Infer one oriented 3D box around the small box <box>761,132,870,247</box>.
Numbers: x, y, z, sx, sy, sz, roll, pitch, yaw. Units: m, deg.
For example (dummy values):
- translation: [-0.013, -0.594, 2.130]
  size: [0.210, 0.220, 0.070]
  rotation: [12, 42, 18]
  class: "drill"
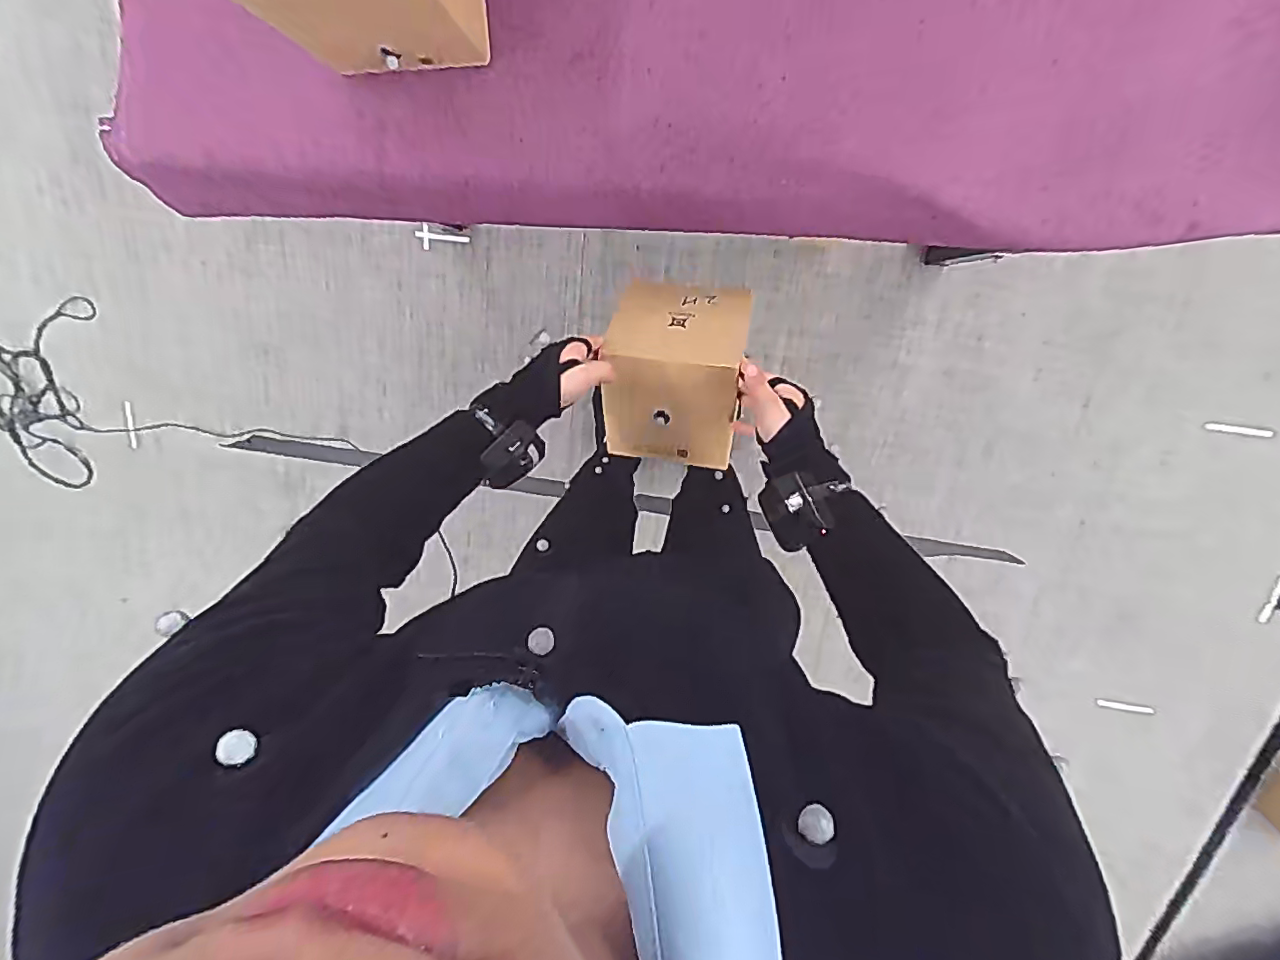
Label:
- translation: [0.360, -0.604, 1.146]
  size: [0.168, 0.176, 0.179]
  rotation: [10, 108, 2]
  class: "small box"
